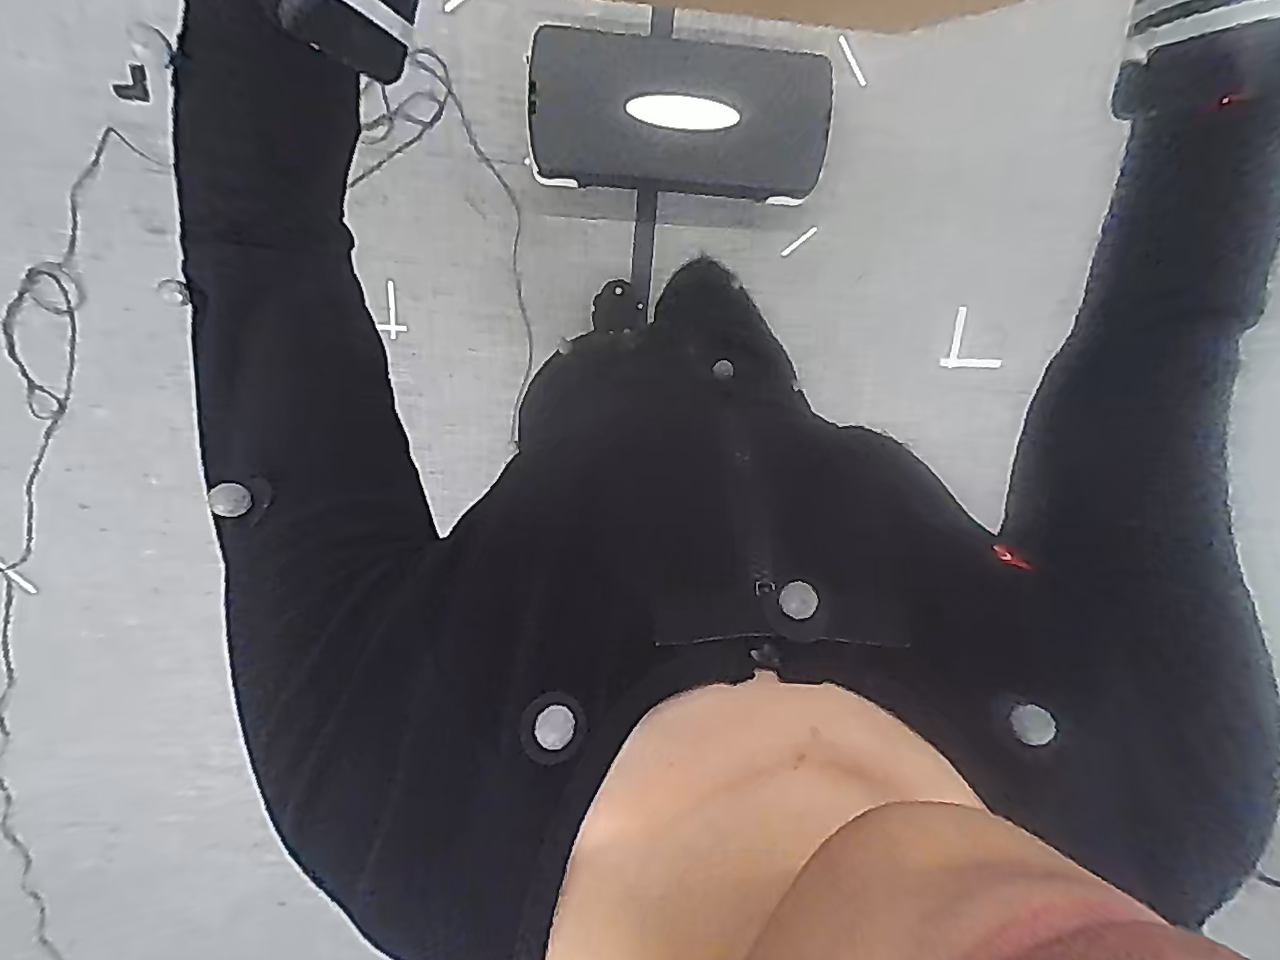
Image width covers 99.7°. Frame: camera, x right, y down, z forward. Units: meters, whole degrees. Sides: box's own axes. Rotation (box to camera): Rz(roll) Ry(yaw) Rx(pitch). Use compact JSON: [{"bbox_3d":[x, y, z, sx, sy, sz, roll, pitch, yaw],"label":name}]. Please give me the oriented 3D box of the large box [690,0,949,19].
[{"bbox_3d":[0.095,-0.517,0.329,0.408,0.320,0.320,1,125,-6],"label":"large box"}]
